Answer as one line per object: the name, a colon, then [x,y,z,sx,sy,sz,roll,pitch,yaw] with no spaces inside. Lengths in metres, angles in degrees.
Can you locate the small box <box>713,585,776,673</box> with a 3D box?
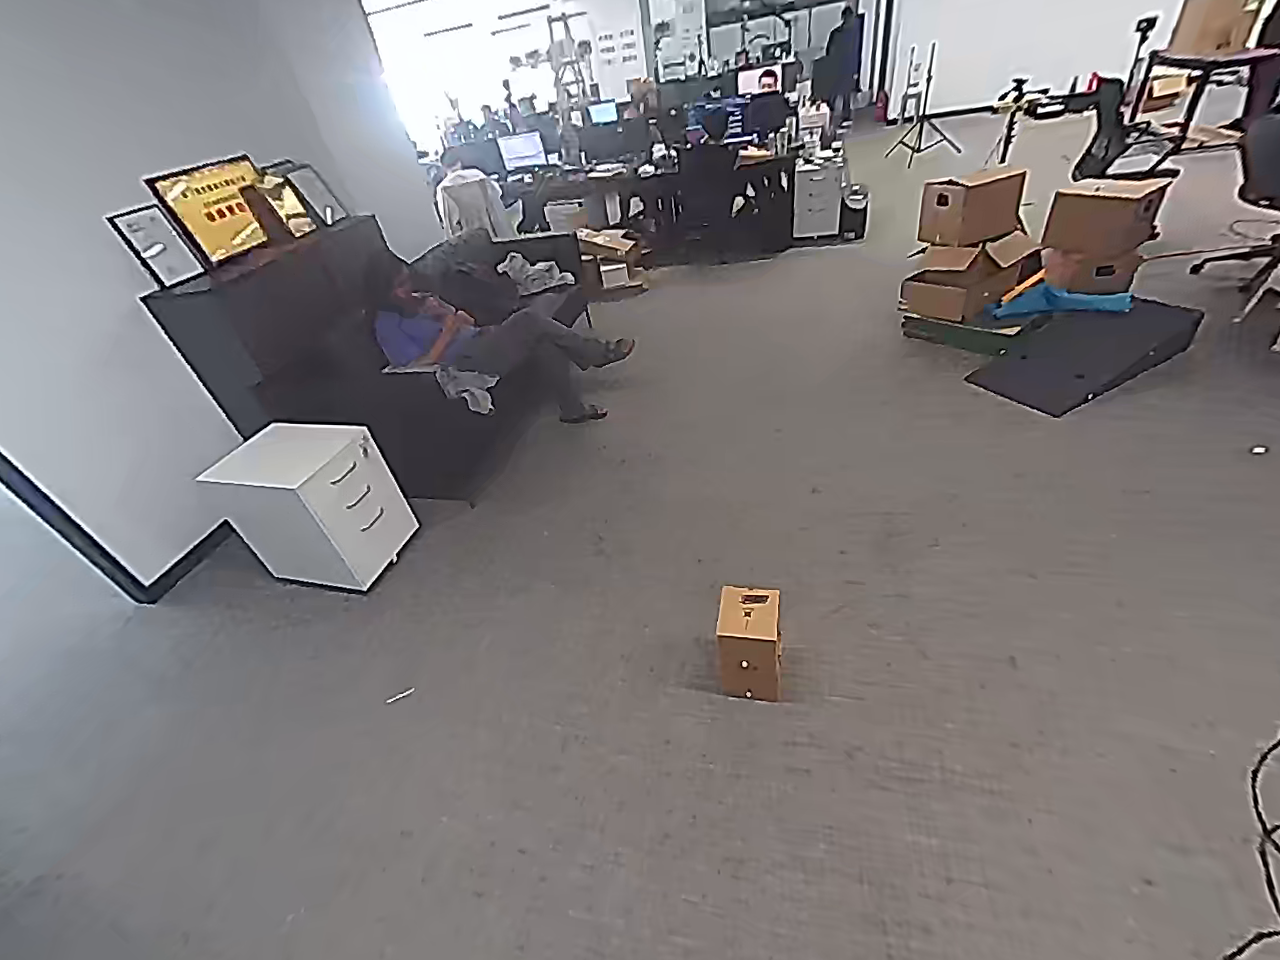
small box: [0.310,0.433,1.584,0.168,0.176,0.179,2,40,16]

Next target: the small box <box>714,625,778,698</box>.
small box: [0.335,0.558,1.689,0.179,0.176,0.168,3,39,17]
